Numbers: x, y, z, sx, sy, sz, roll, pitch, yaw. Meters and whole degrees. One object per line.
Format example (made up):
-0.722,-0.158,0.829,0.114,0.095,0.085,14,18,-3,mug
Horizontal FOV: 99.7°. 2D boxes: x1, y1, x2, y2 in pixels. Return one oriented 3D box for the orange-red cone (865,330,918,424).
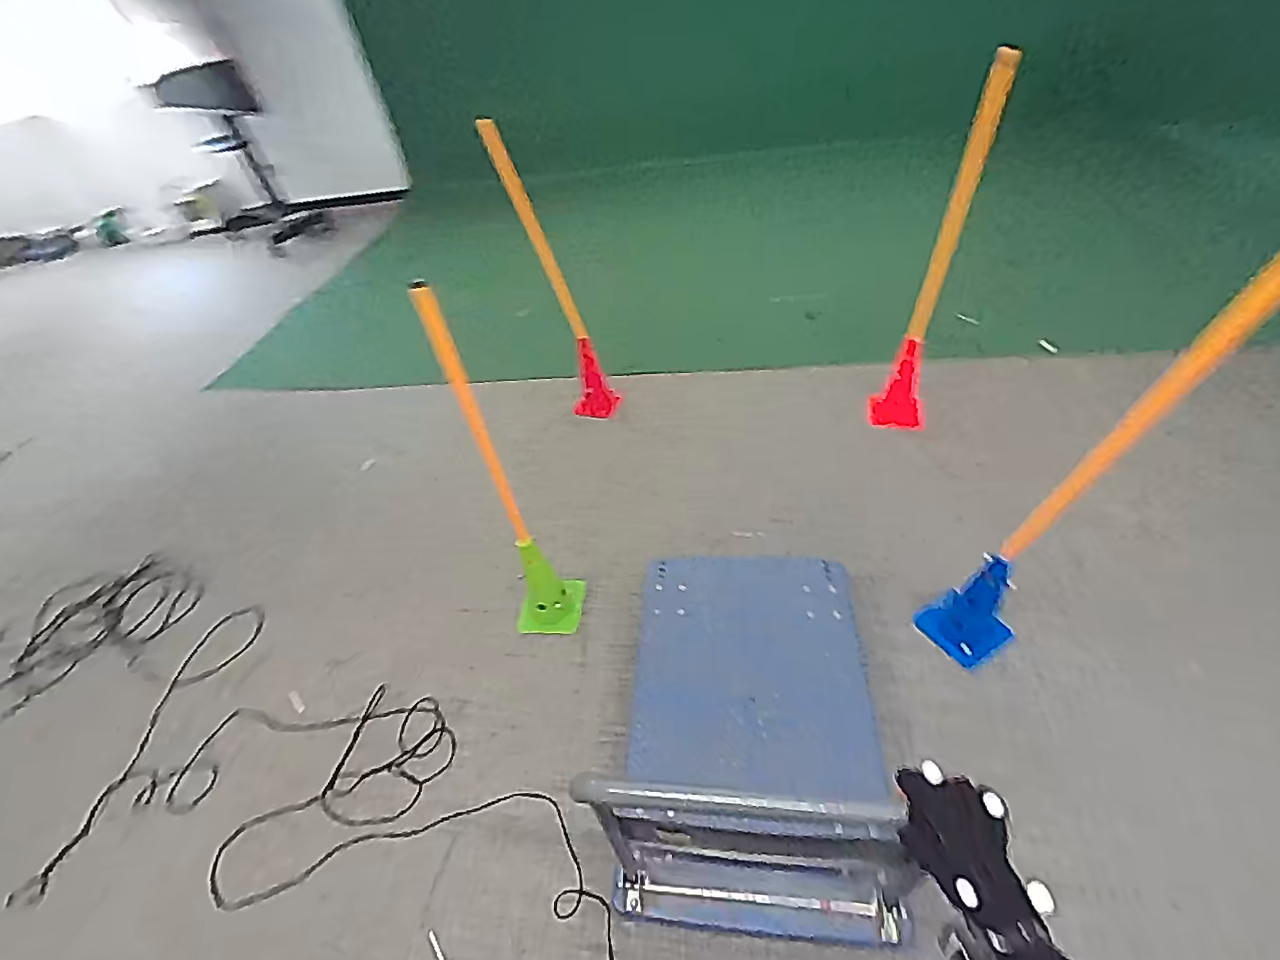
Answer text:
1.013,-0.418,2.110,0.198,0.360,0.199,7,49,18,orange-red cone
